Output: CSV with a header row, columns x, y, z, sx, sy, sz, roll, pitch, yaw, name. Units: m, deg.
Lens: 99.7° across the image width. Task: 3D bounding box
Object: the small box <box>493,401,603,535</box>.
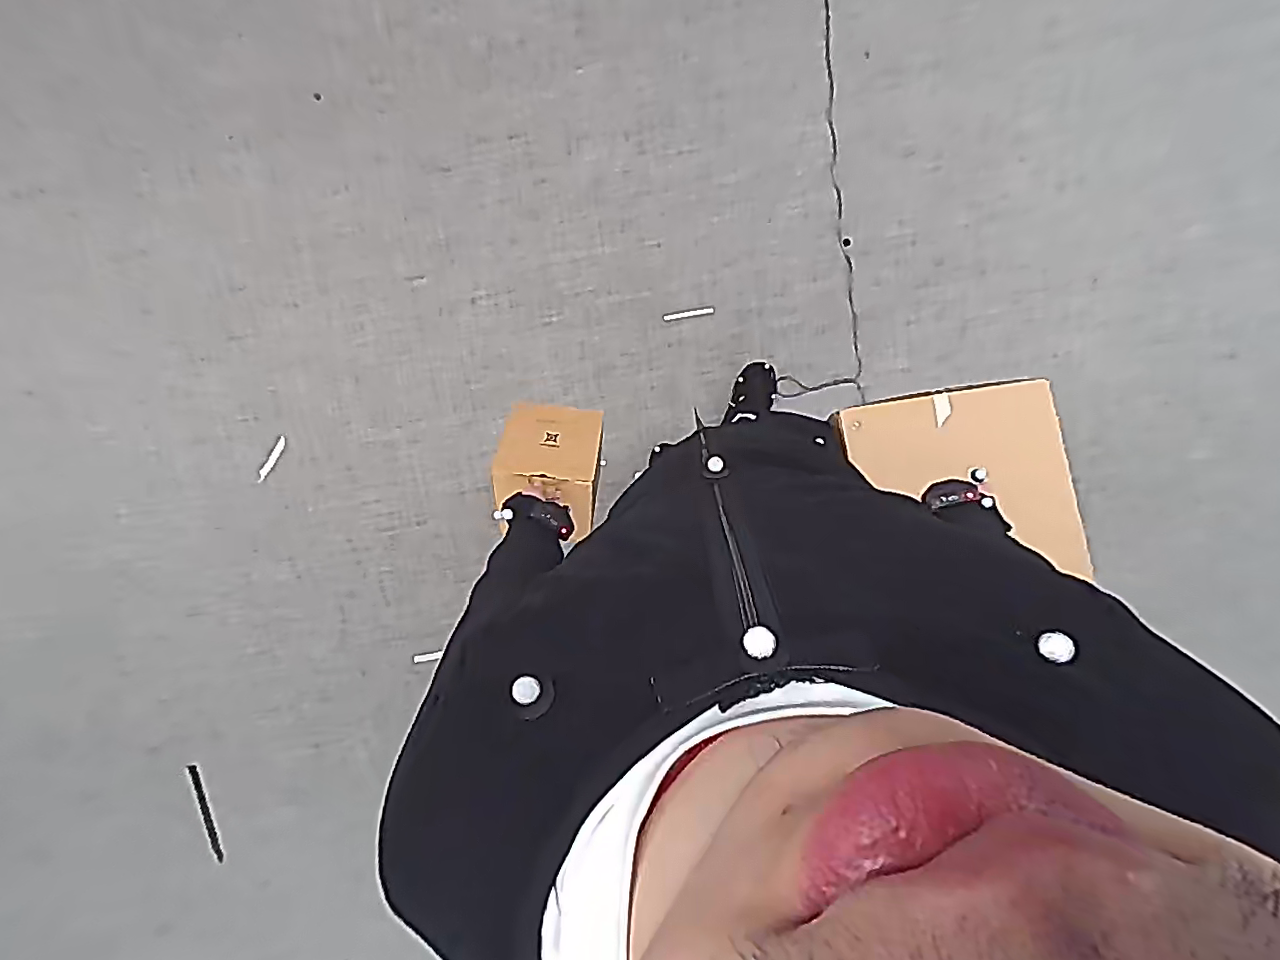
x,y,z,sx,sy,sz,roll,pitch,yaw,name
-0.162,-0.018,0.993,0.168,0.179,0.176,7,138,-4,small box
